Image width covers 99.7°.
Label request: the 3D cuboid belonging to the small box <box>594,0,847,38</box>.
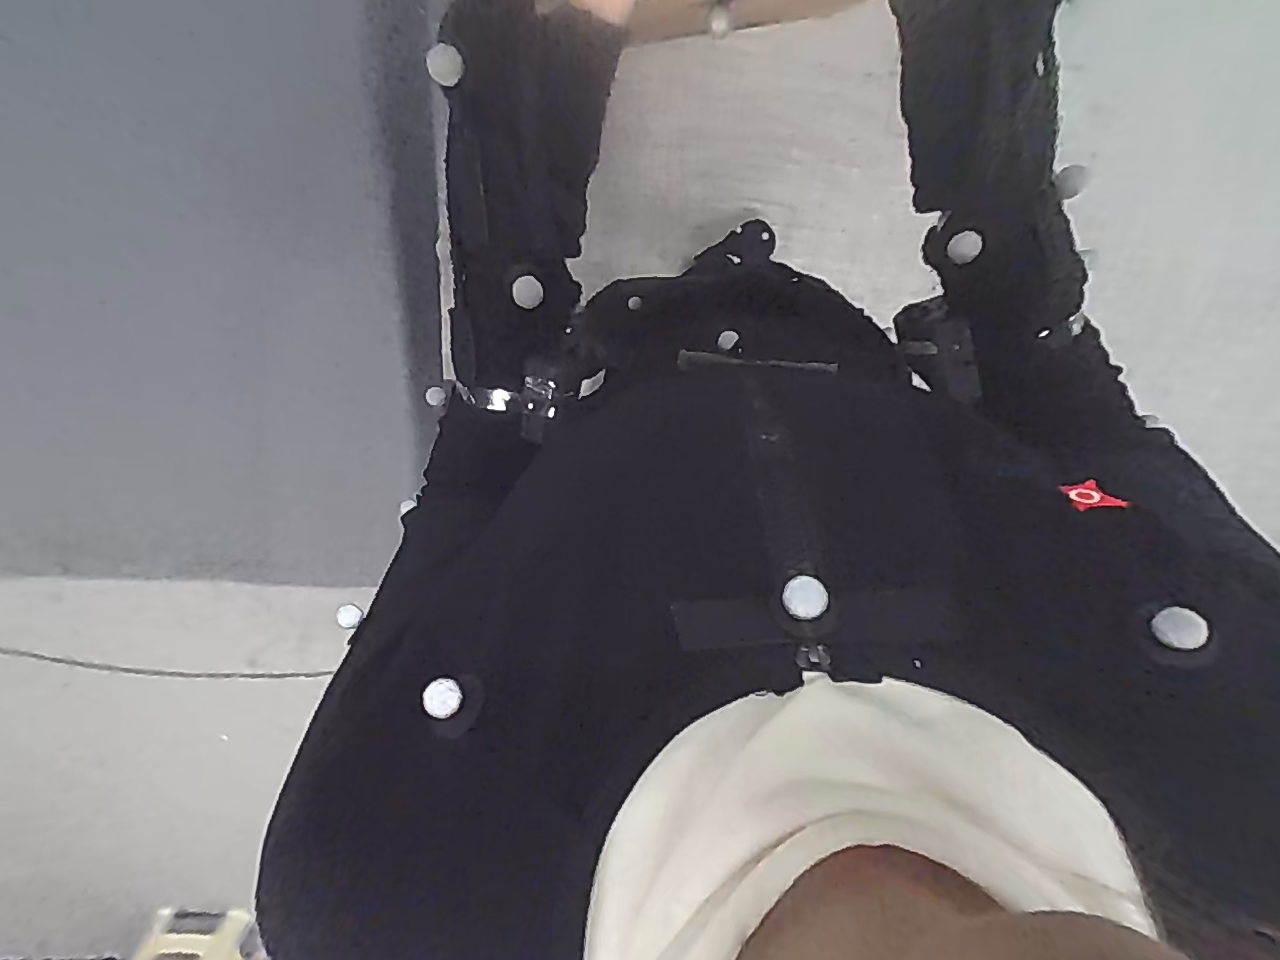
[{"bbox_3d":[0.044,-0.325,0.236,0.168,0.176,0.179,-5,123,4],"label":"small box"}]
